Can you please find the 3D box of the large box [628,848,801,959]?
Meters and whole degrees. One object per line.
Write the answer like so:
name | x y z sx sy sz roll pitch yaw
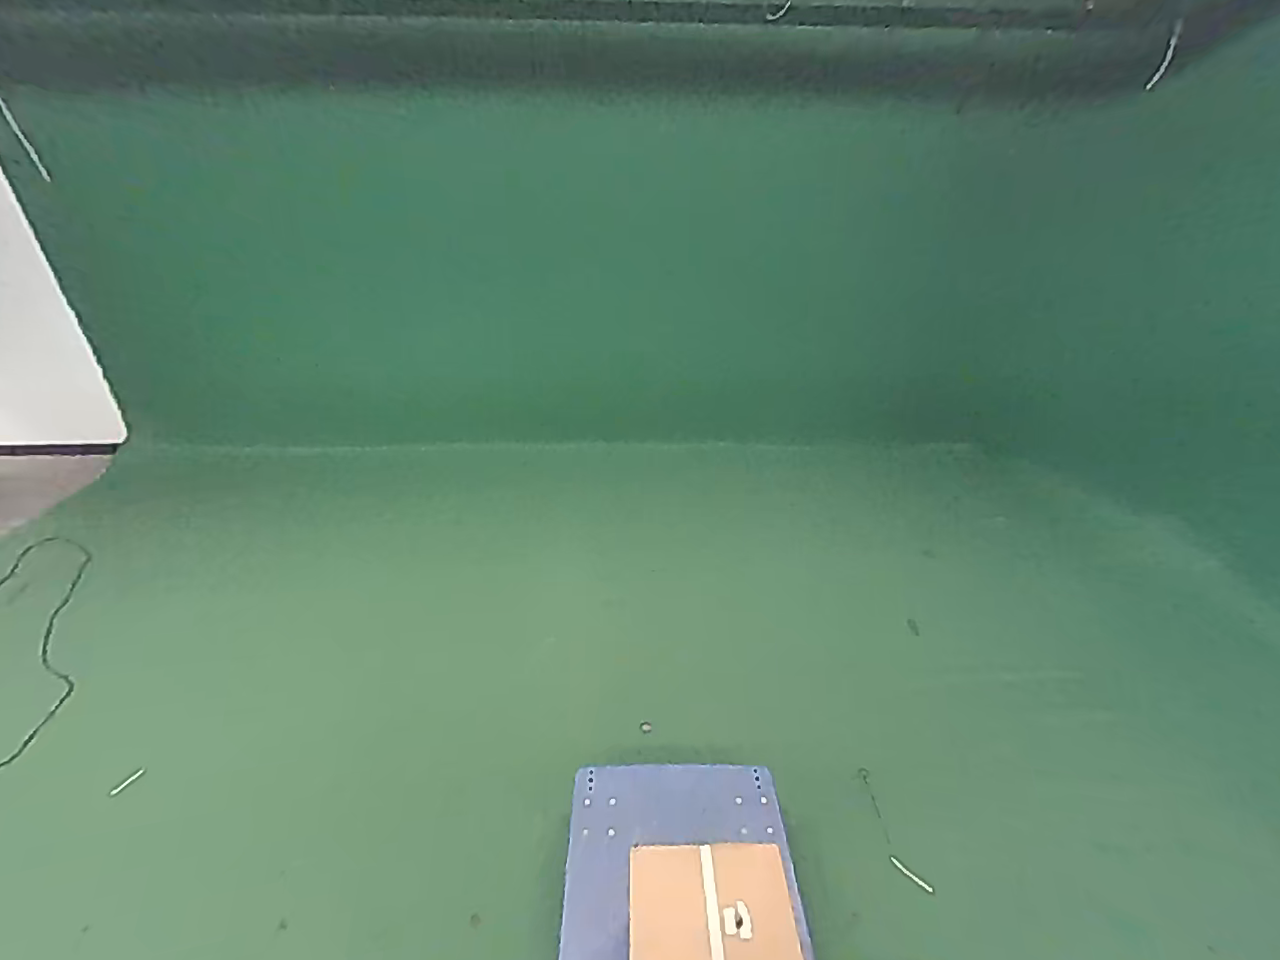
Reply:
large box | 0.136 0.996 1.019 0.320 0.320 0.408 0 28 -2
